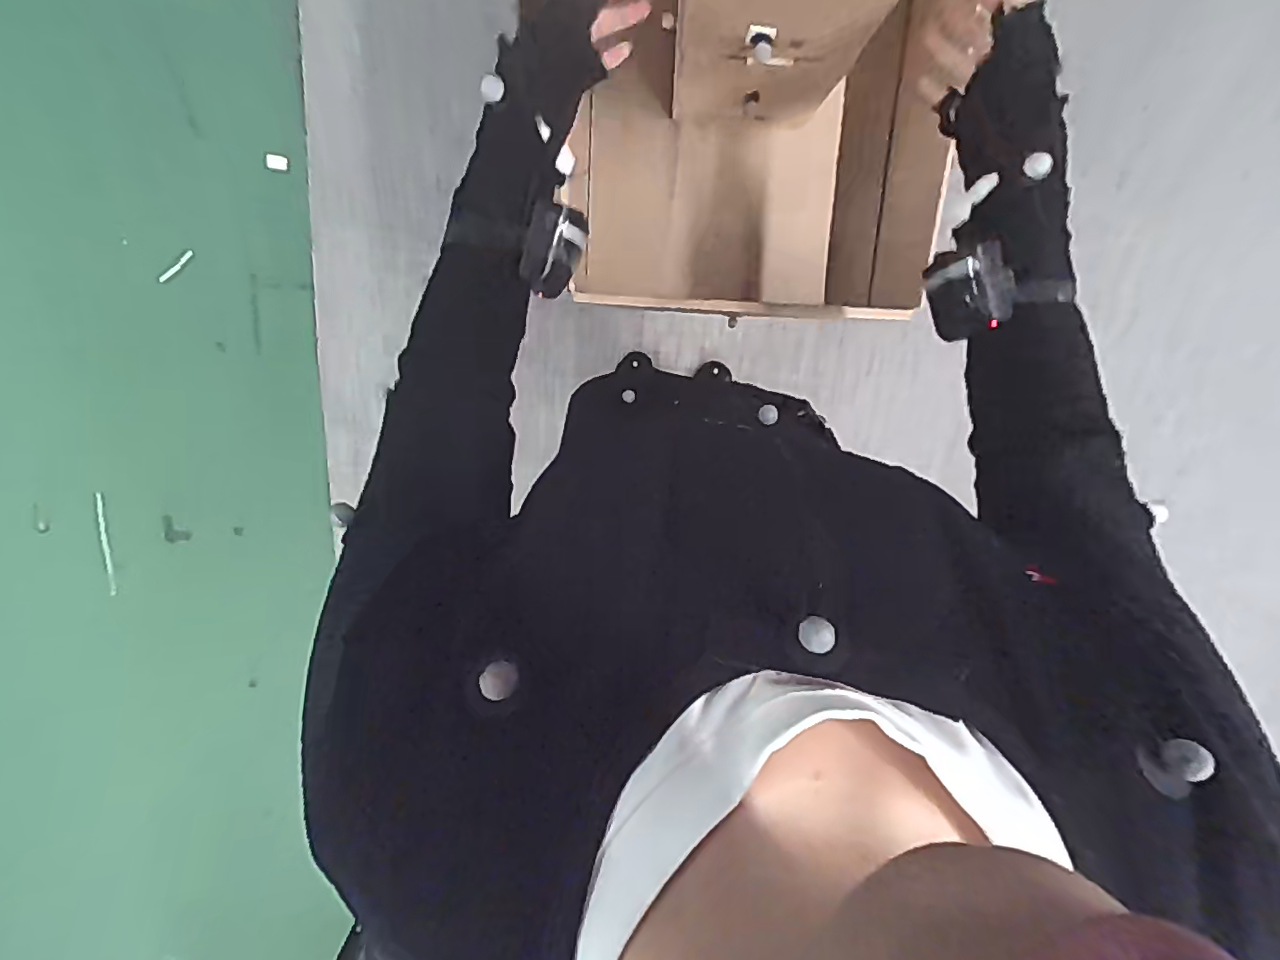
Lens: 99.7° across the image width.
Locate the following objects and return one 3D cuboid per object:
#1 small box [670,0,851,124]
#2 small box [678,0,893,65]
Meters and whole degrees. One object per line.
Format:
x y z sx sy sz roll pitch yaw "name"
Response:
0.121 -0.495 0.558 0.168 0.176 0.179 3 106 -2 "small box"
0.118 -0.453 0.400 0.168 0.176 0.179 2 105 0 "small box"
